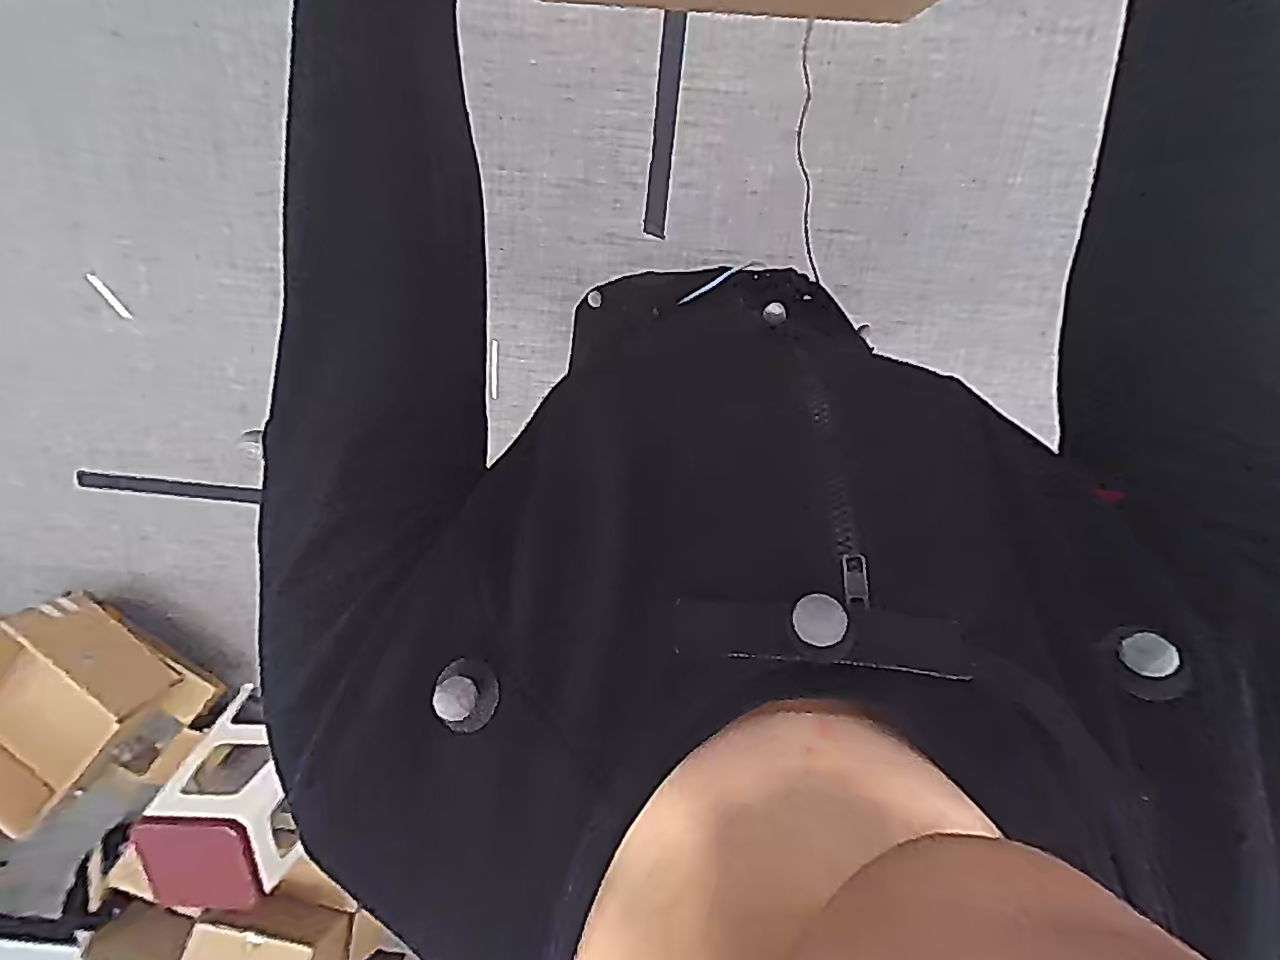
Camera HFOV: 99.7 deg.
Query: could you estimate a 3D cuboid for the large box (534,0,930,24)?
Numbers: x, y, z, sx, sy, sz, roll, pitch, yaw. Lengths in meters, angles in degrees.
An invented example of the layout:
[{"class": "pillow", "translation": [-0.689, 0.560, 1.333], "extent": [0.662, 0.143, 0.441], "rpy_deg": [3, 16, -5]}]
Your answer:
[{"class": "large box", "translation": [0.091, -0.566, 0.383], "extent": [0.408, 0.320, 0.320], "rpy_deg": [2, 118, -2]}]
